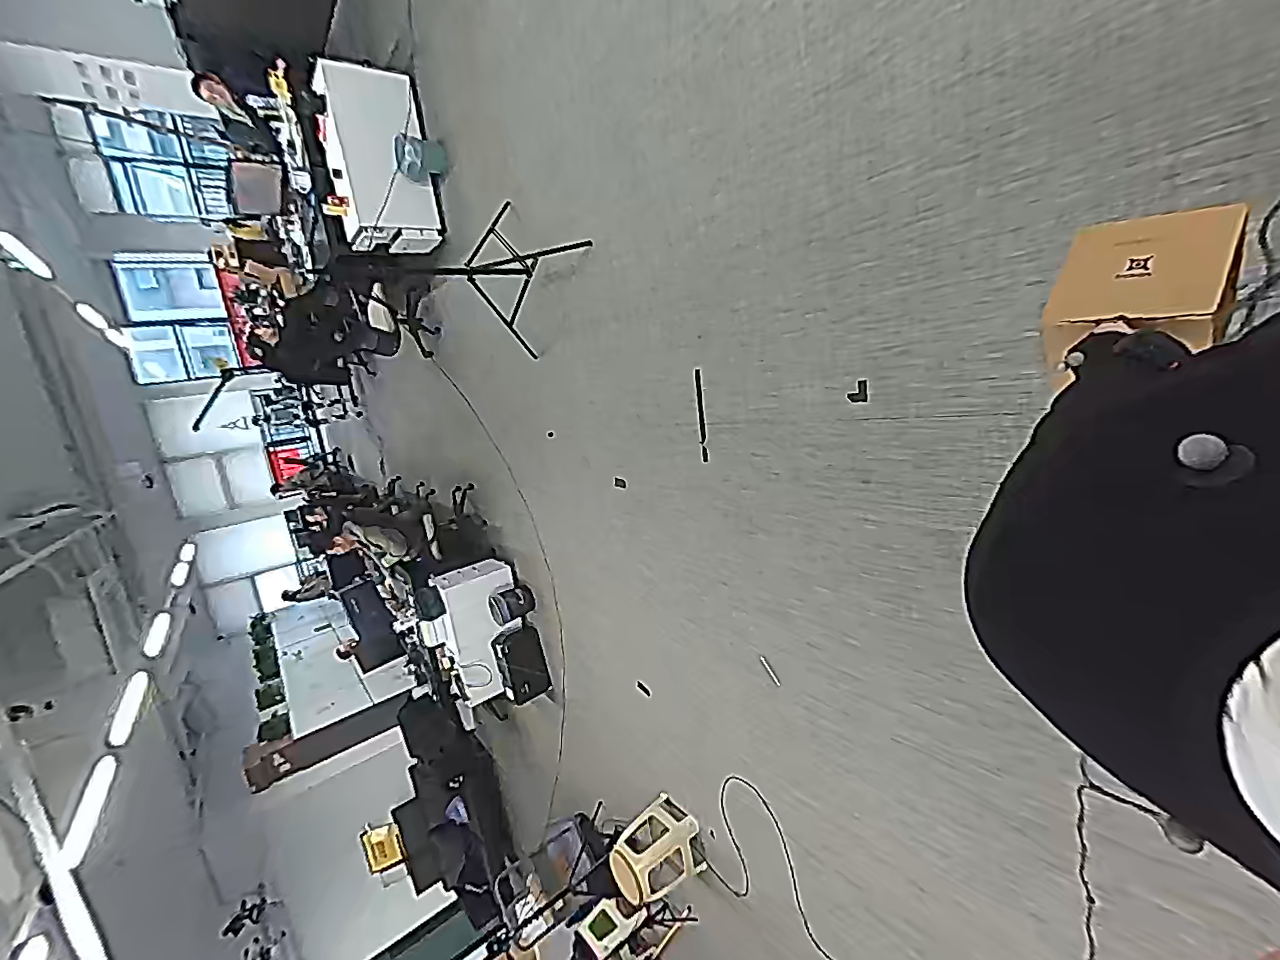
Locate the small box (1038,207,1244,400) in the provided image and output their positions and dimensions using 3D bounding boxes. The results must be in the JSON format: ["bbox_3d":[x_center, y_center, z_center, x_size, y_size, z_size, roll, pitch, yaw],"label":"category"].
[{"bbox_3d":[0.674,-0.226,0.734,0.168,0.176,0.179,15,70,47],"label":"small box"}]
